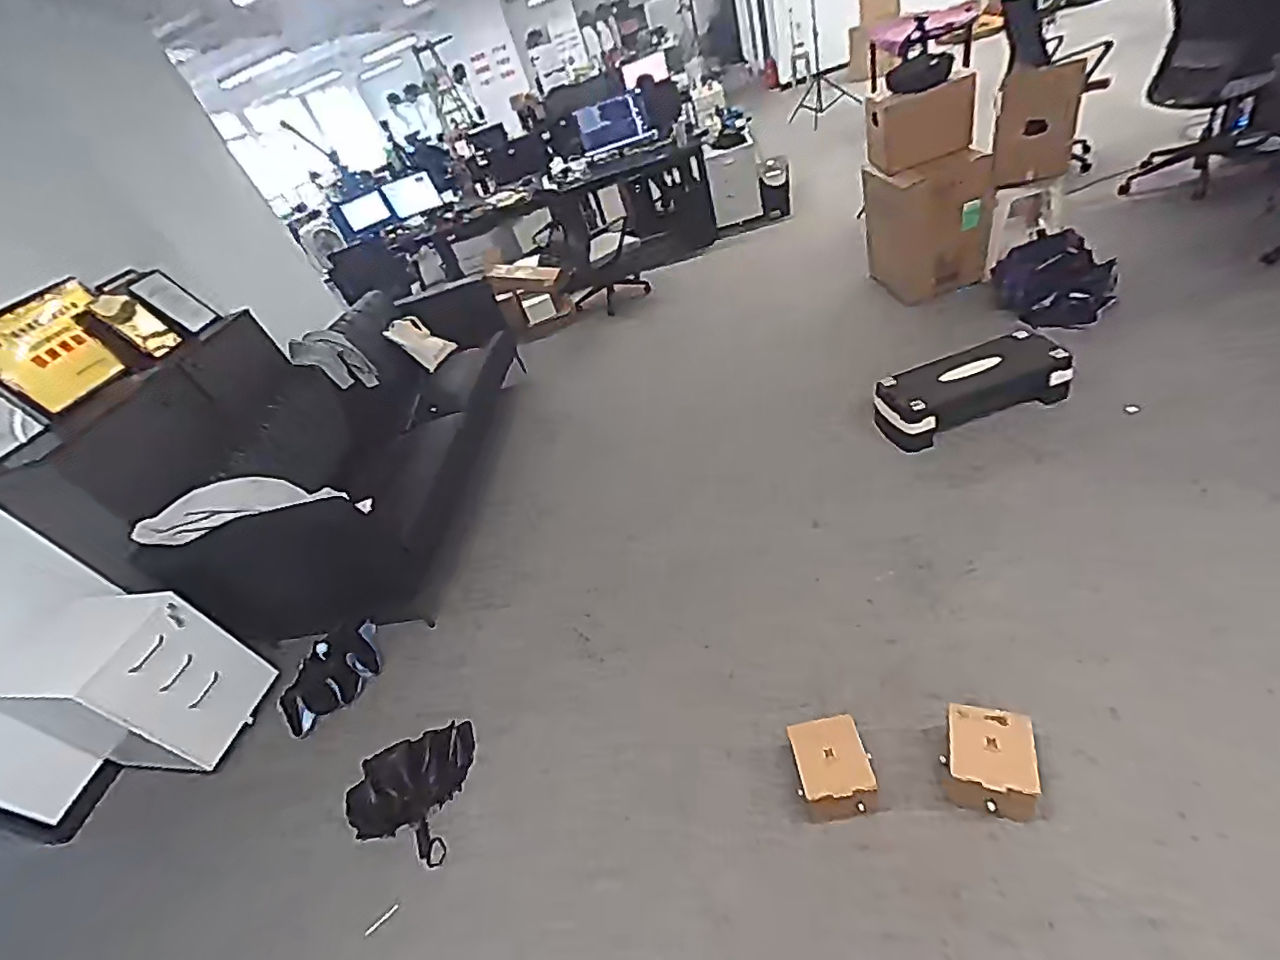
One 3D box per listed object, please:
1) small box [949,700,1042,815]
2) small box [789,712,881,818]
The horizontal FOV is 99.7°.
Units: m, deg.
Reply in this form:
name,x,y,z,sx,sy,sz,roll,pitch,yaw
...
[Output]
name,x,y,z,sx,sy,sz,roll,pitch,yaw
small box,0.817,0.645,1.255,0.168,0.176,0.179,0,44,28
small box,0.486,0.715,1.345,0.168,0.176,0.179,-16,37,7
